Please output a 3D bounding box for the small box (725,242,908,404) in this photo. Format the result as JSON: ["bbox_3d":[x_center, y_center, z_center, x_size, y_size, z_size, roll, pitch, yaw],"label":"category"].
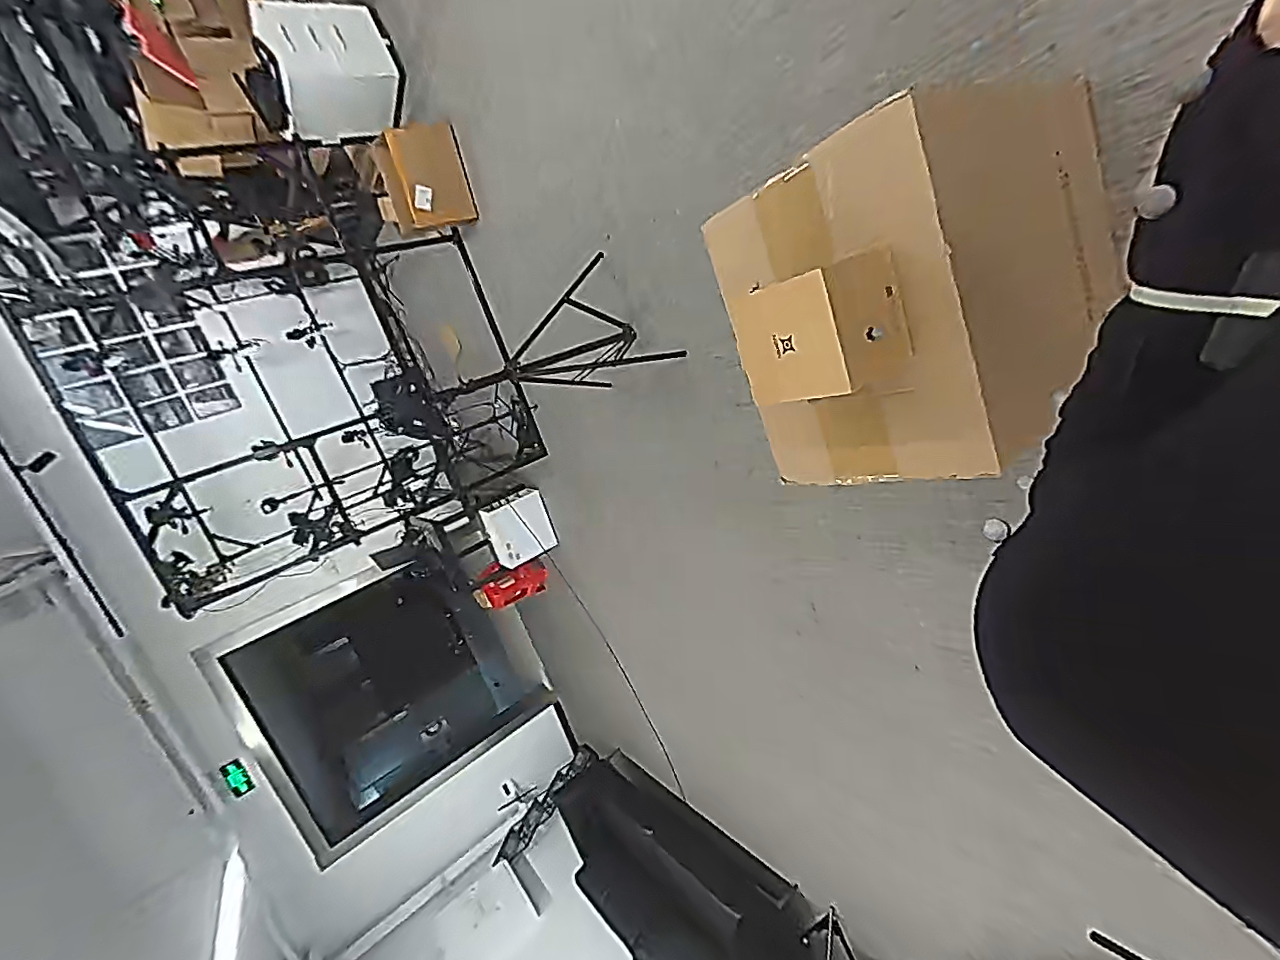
[{"bbox_3d":[0.260,-0.222,0.778,0.179,0.176,0.168,1,115,57],"label":"small box"}]
